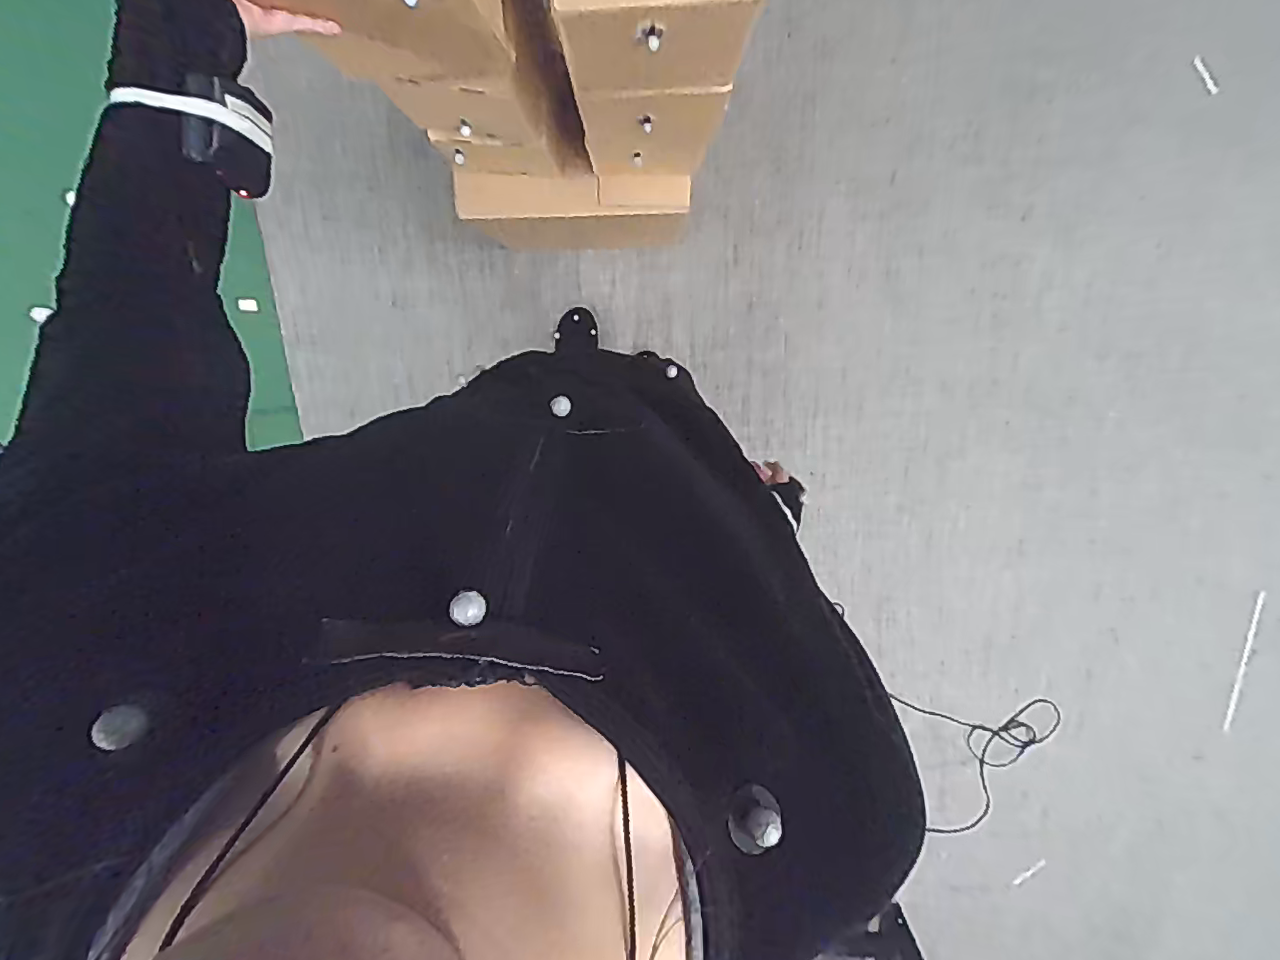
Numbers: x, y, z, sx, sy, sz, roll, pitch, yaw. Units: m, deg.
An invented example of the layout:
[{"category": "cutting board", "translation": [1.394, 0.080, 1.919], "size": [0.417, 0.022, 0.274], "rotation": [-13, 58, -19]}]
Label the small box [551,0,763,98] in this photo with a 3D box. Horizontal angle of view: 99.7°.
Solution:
[{"category": "small box", "translation": [0.013, -0.479, 0.498], "size": [0.179, 0.176, 0.168], "rotation": [-3, 106, 1]}]

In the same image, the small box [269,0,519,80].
[{"category": "small box", "translation": [-0.217, -0.468, 0.452], "size": [0.179, 0.176, 0.168], "rotation": [-1, 104, 5]}]
